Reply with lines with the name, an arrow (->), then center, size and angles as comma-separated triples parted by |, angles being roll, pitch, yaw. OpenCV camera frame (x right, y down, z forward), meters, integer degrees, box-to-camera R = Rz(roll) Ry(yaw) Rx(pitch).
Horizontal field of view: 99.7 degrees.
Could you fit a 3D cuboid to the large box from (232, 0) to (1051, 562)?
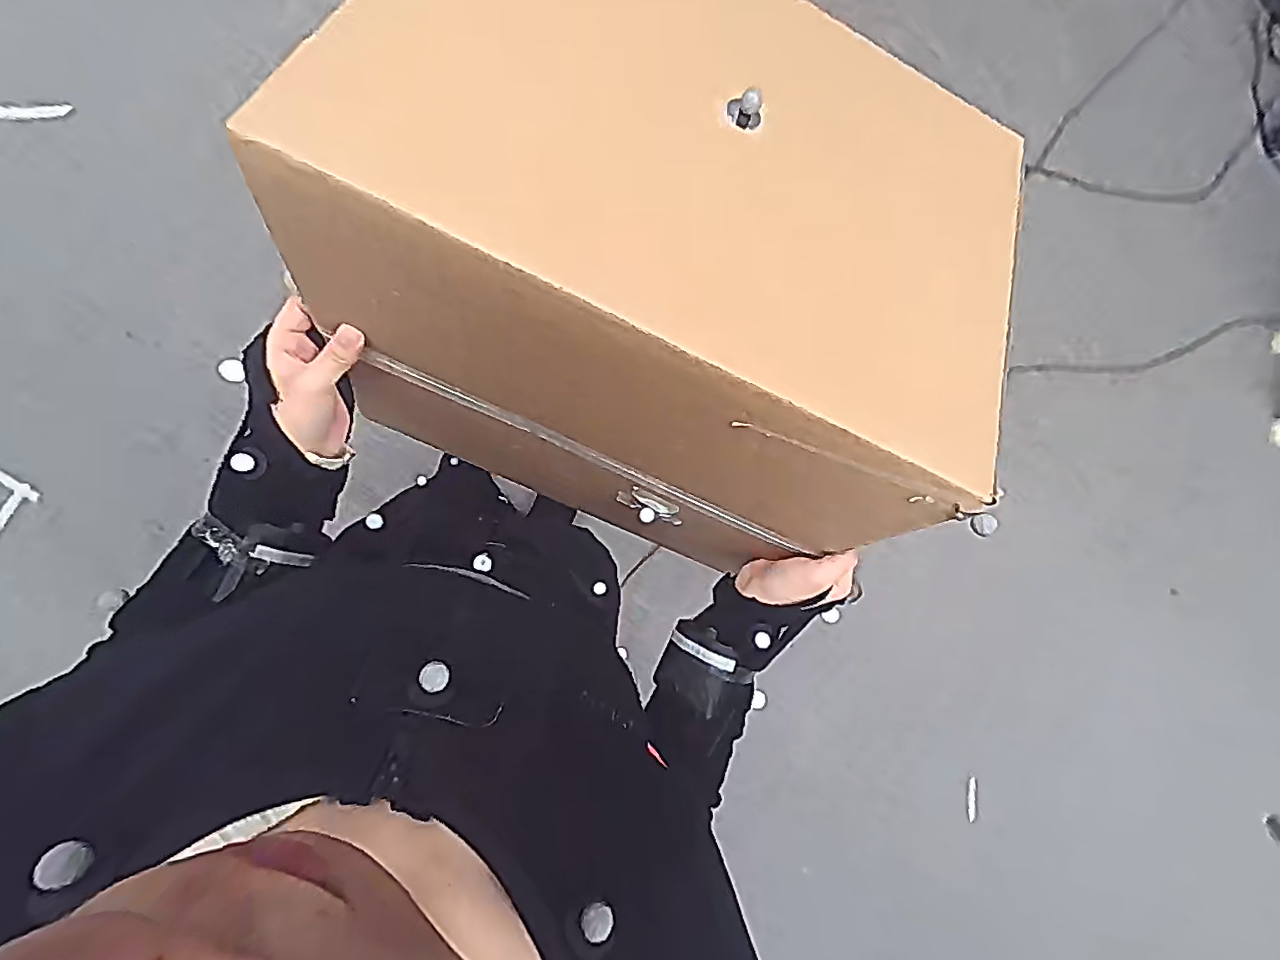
large box -> 0.023, -0.169, 0.430 | 0.408, 0.320, 0.320 | 23, 69, -8
